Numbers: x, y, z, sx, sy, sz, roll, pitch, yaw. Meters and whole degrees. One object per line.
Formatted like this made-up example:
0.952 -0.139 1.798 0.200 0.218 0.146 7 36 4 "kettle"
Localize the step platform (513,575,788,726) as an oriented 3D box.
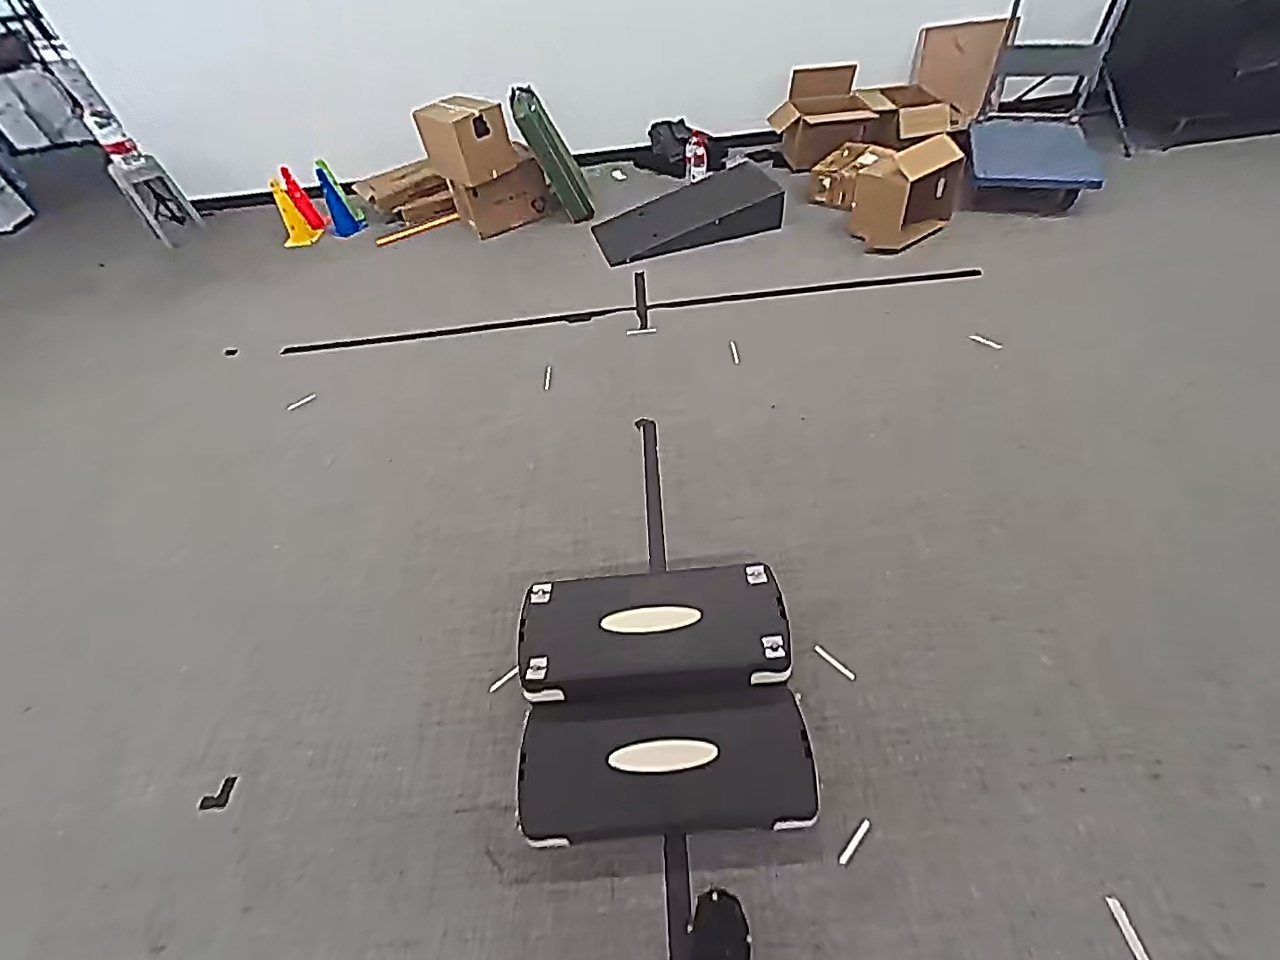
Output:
0.024 0.433 1.390 0.684 0.204 0.286 -6 50 1 "step platform"
